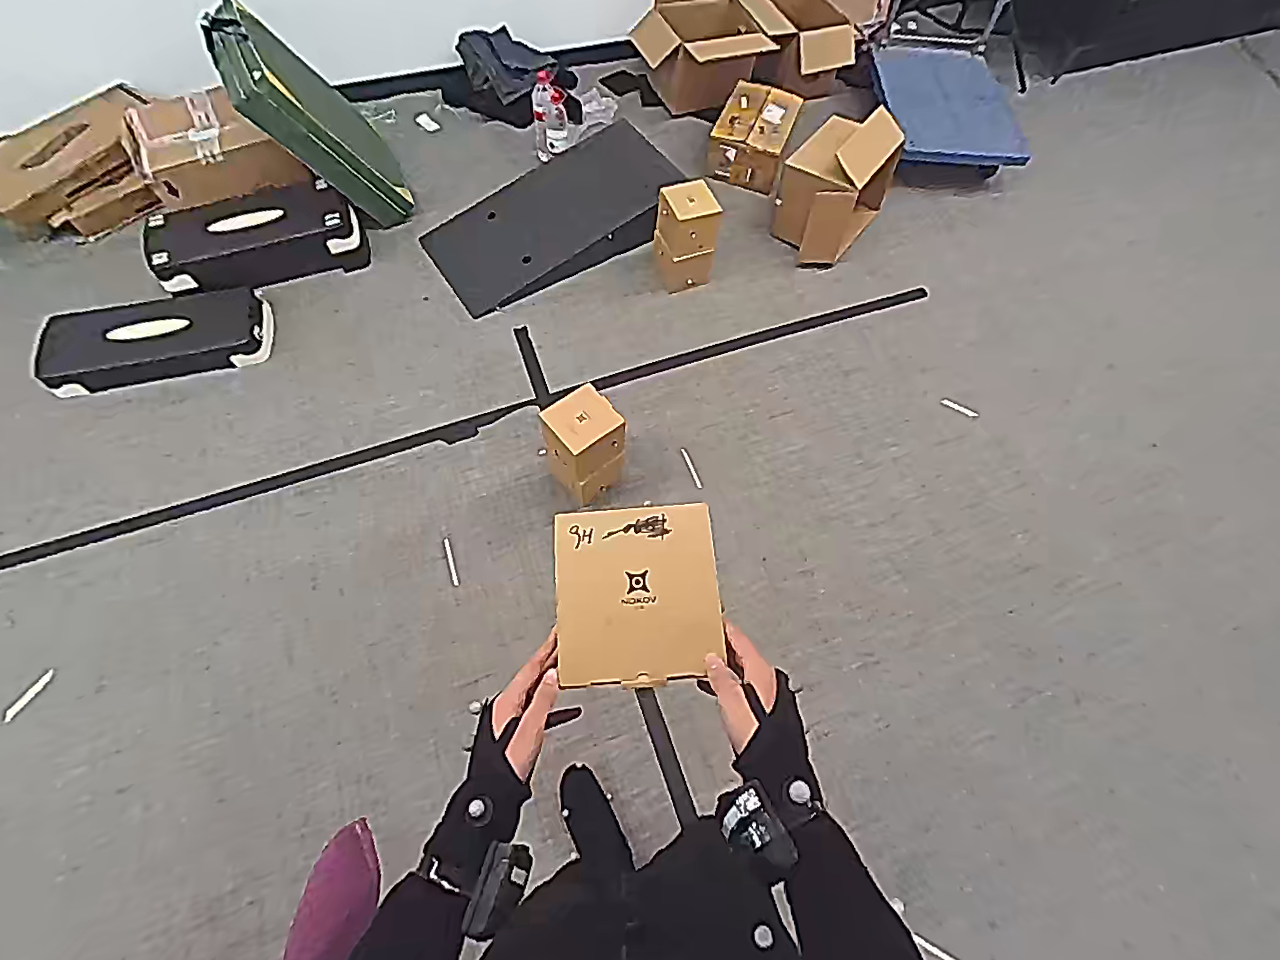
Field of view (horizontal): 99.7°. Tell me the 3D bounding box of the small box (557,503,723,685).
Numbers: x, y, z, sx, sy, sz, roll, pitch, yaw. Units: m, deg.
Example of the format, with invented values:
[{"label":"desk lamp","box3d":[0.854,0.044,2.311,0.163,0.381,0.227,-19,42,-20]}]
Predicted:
[{"label":"small box","box3d":[-0.001,0.136,0.627,0.168,0.176,0.179,-4,71,0]}]
